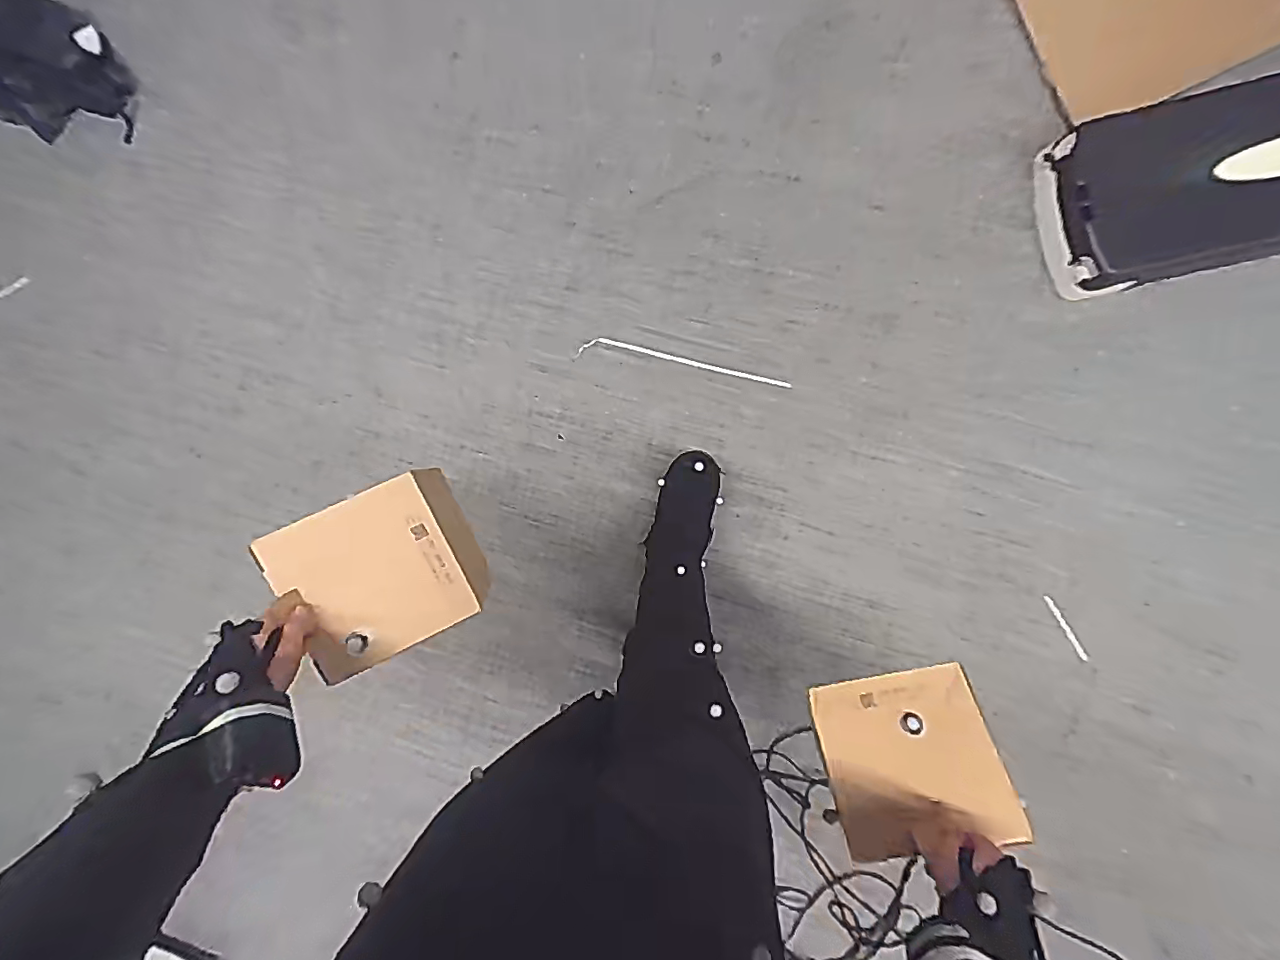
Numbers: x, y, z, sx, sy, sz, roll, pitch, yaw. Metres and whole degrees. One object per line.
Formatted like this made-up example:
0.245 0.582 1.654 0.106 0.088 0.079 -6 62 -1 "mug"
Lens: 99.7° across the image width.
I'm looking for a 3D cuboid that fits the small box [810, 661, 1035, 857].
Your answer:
0.302 0.318 0.625 0.168 0.179 0.176 -15 57 10 "small box"
